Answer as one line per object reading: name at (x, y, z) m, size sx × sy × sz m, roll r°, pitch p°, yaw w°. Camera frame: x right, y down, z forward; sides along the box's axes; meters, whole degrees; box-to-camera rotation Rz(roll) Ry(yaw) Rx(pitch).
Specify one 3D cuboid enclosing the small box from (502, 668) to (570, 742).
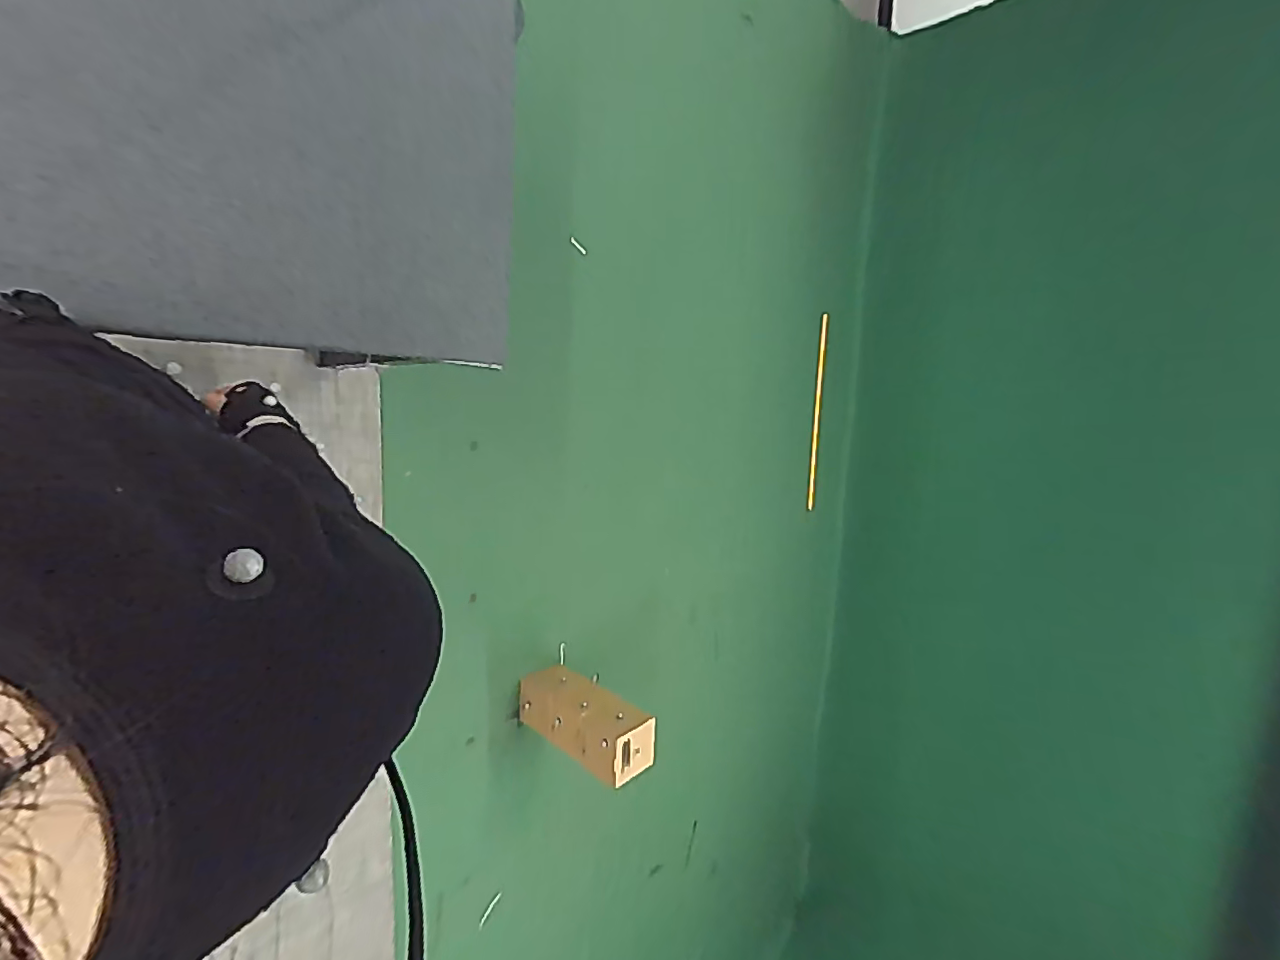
small box at (-0.373, 0.799, 1.942) m, size 0.179 × 0.176 × 0.168 m, roll -5°, pitch 99°, yaw -49°

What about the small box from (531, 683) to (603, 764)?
small box at (-0.249, 0.819, 1.839) m, size 0.179 × 0.176 × 0.168 m, roll -6°, pitch 102°, yaw -49°
